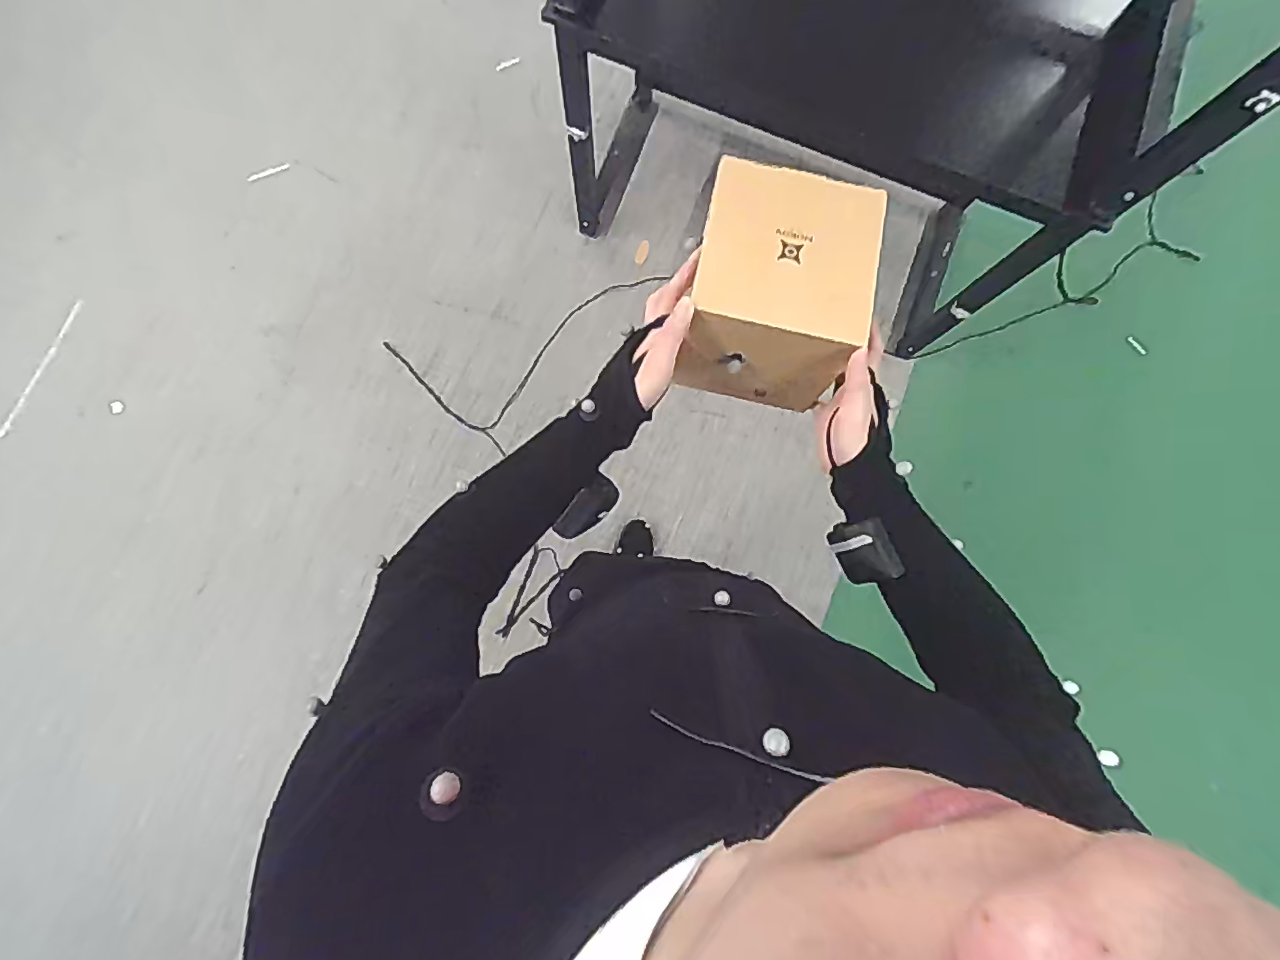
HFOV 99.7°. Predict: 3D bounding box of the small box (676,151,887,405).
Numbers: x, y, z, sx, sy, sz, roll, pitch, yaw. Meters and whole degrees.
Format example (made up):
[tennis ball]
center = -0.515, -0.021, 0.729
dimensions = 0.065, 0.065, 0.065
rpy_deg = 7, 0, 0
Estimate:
[small box]
center = 0.136, -0.199, 0.577
dimensions = 0.168, 0.176, 0.179
rpy_deg = 13, 75, 1
